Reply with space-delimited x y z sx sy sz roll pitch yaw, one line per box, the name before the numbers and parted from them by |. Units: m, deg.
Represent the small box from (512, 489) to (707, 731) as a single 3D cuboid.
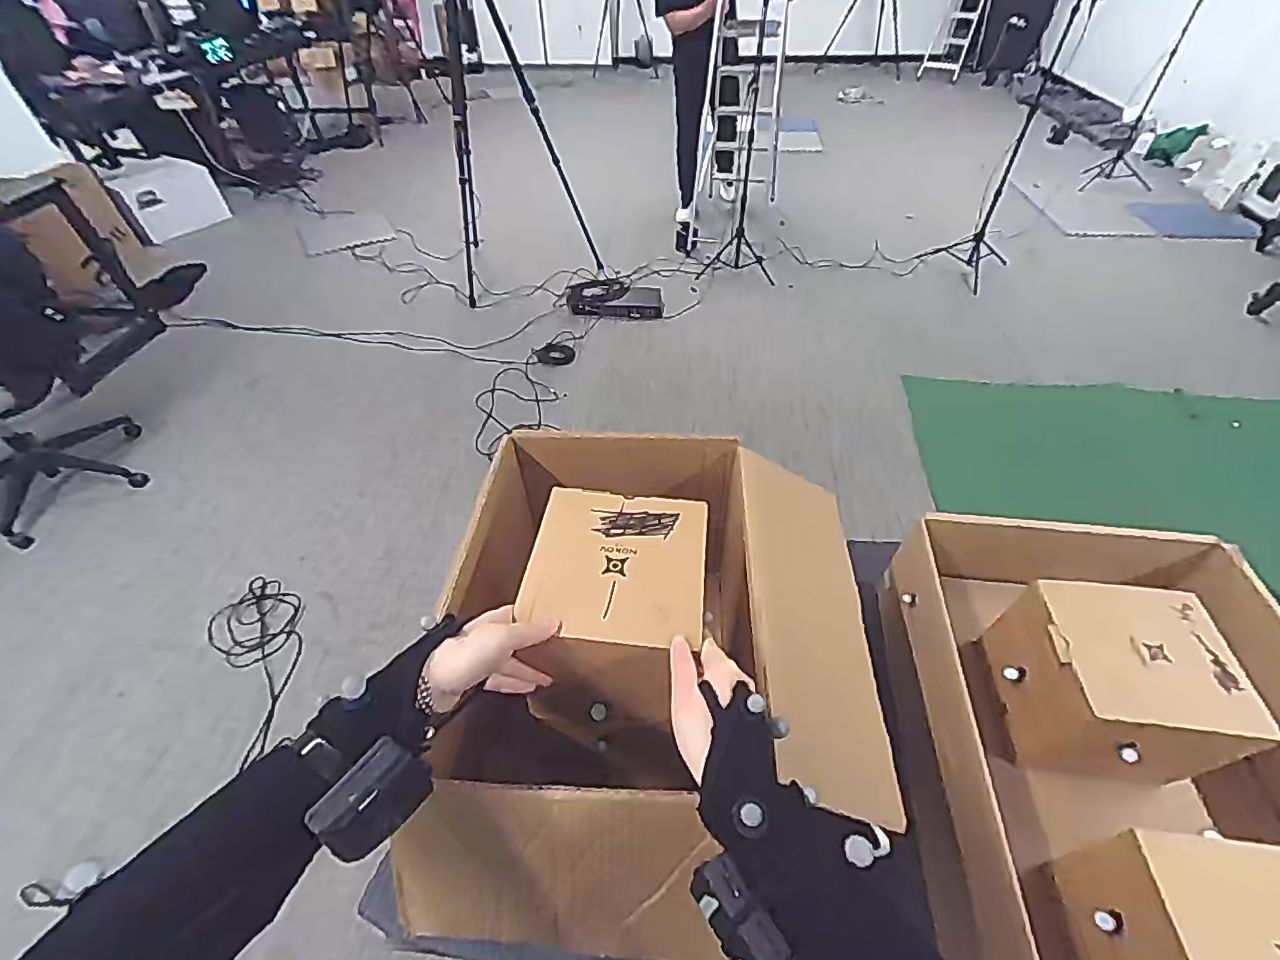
small box | -0.023 0.136 0.571 0.168 0.176 0.179 6 44 4
